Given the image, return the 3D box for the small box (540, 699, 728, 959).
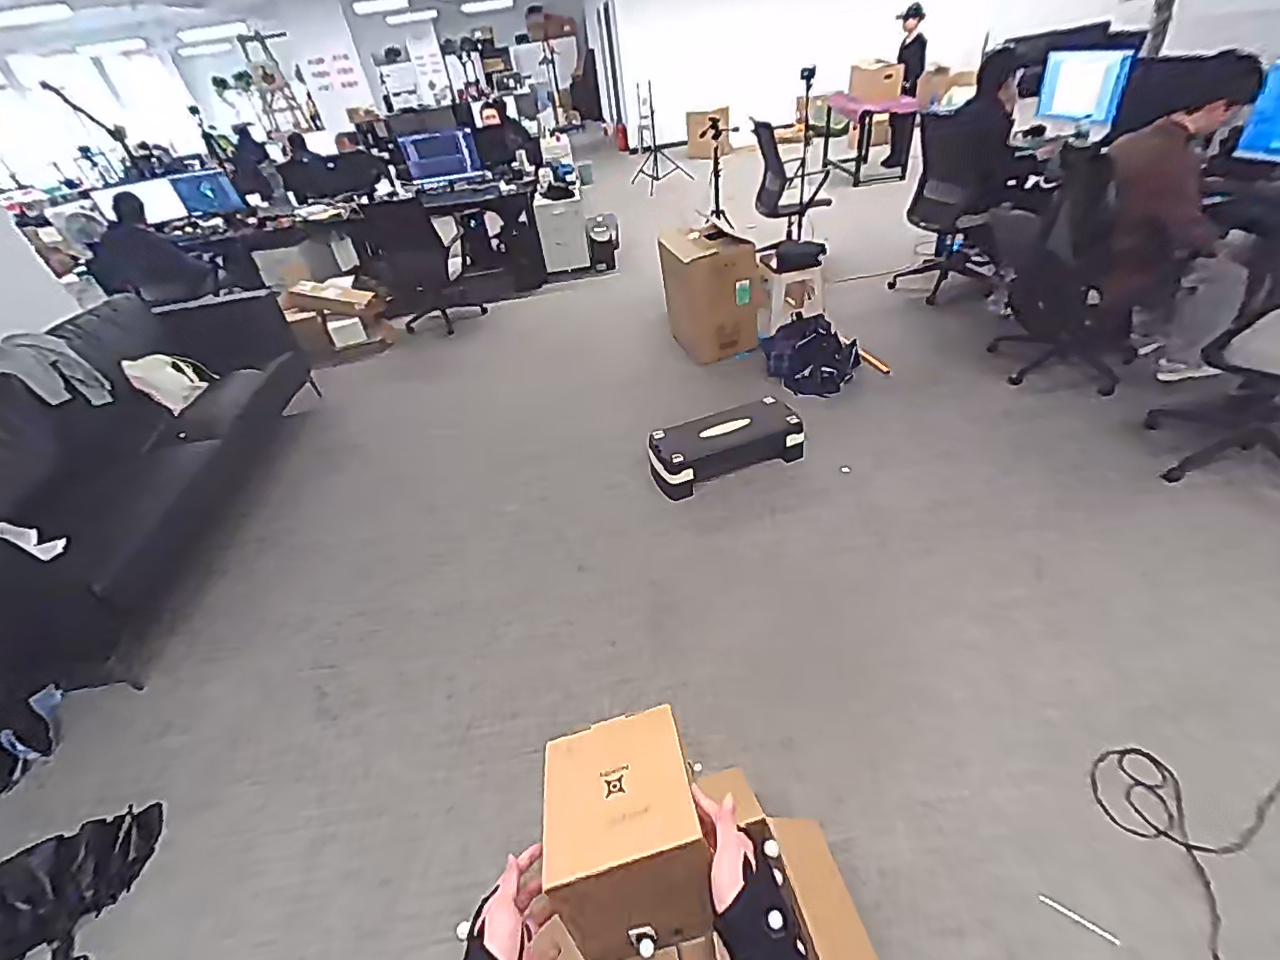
[{"bbox_3d":[-0.008,0.400,0.632,0.168,0.176,0.179,-17,23,-1],"label":"small box"}]
